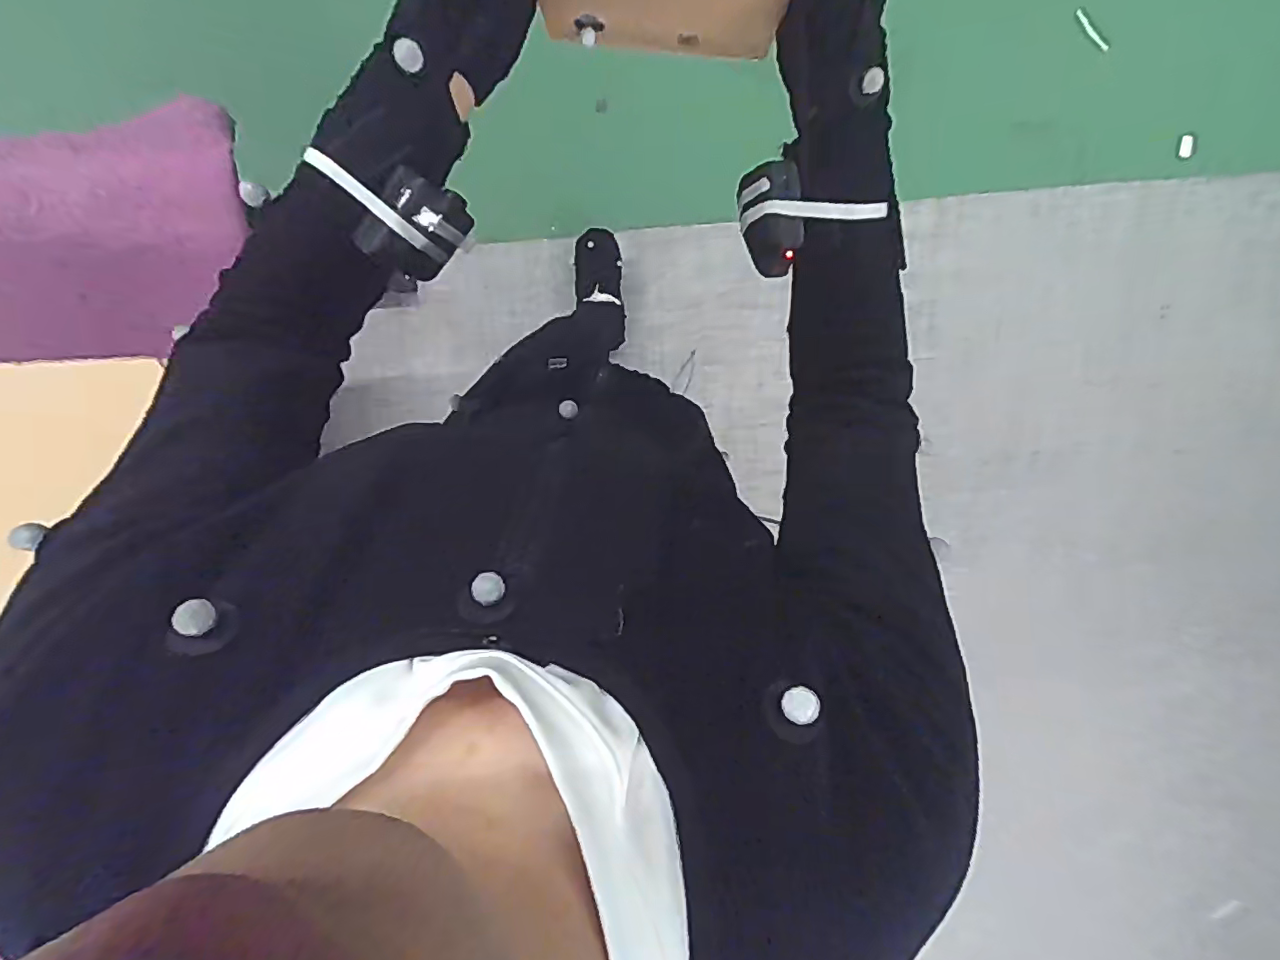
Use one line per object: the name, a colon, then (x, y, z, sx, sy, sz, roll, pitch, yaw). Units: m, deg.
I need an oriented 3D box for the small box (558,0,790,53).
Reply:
small box: (0.026, -0.388, 0.311, 0.168, 0.176, 0.179, 5, 105, -2)
